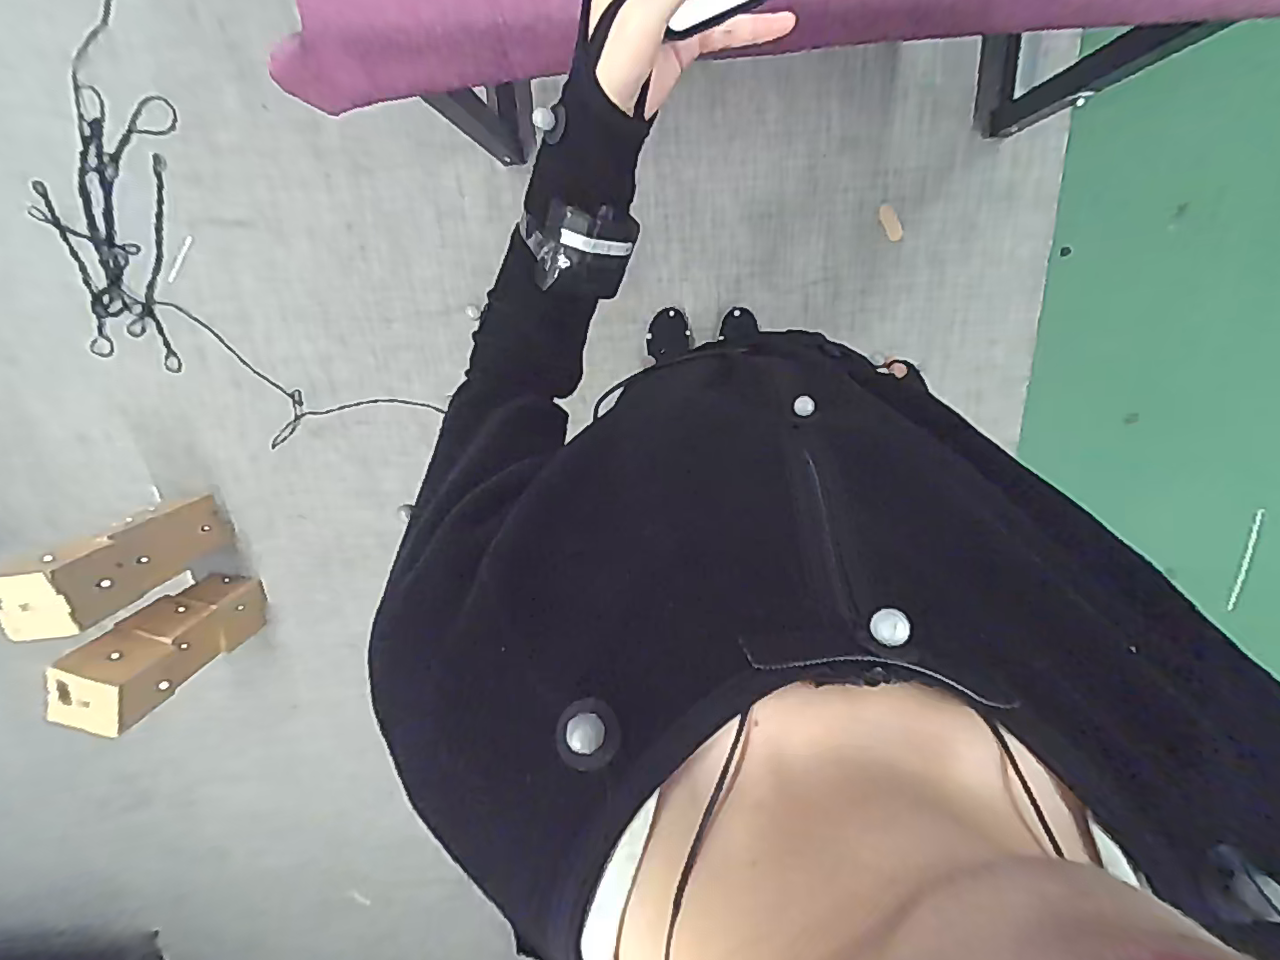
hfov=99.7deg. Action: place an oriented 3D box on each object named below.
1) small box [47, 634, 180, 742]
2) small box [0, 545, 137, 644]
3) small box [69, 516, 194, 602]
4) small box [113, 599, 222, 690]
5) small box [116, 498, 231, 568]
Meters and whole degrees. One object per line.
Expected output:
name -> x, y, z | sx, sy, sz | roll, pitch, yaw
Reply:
small box -> -1.328, 0.518, 1.369 | 0.179, 0.176, 0.168 | 18, 107, -2
small box -> -1.364, 0.266, 1.289 | 0.179, 0.176, 0.168 | -7, 108, 4
small box -> -1.359, 0.219, 1.446 | 0.168, 0.176, 0.179 | -14, 107, 7
small box -> -1.325, 0.467, 1.526 | 0.168, 0.176, 0.179 | 14, 107, 0
small box -> -1.363, 0.164, 1.599 | 0.179, 0.176, 0.168 | -10, 107, 7
